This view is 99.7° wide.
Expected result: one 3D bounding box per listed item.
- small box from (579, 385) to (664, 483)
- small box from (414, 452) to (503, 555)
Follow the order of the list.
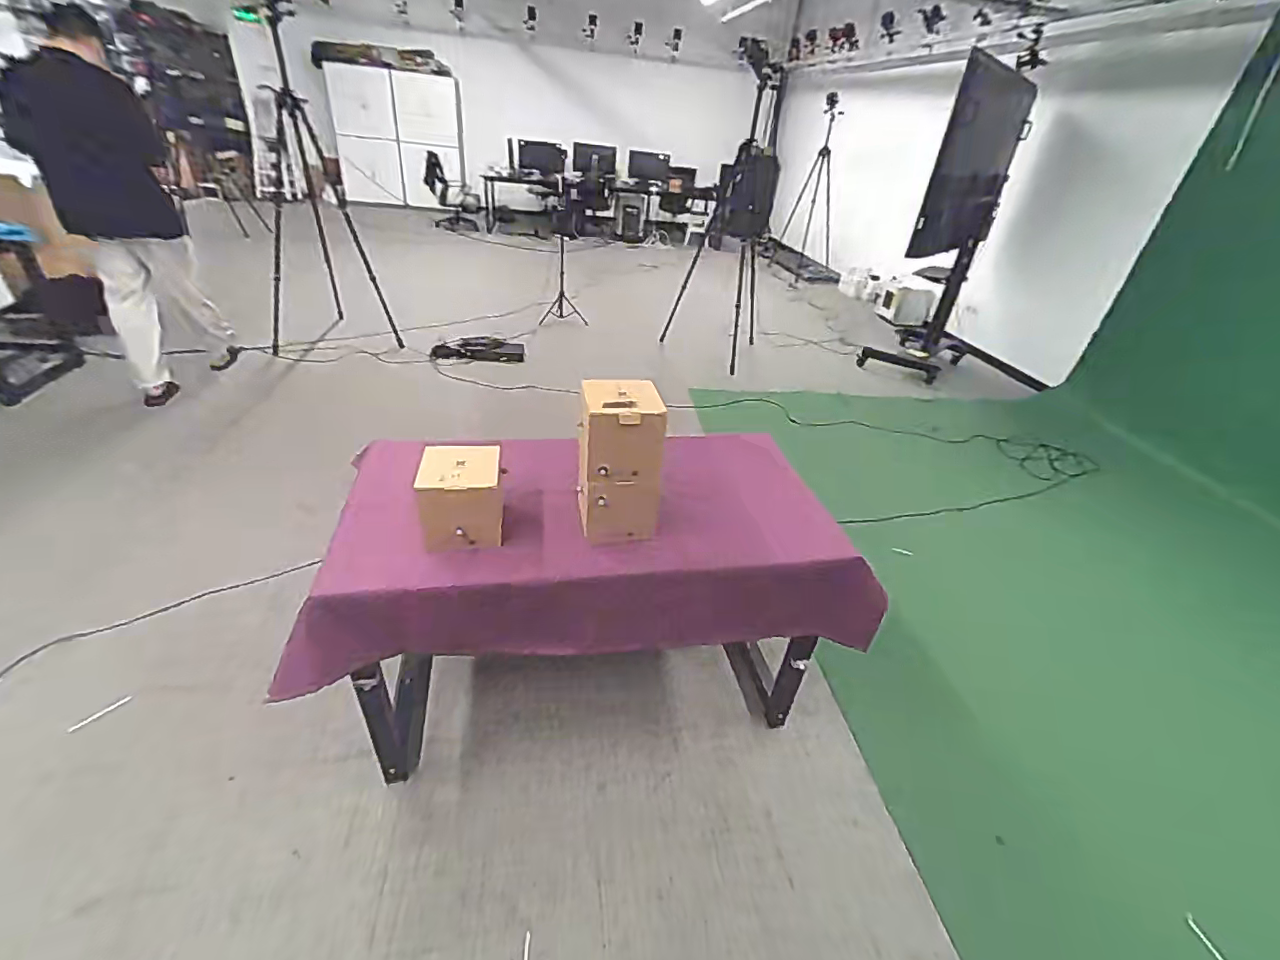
[{"bbox_3d":[-0.048,-0.102,1.210,0.168,0.176,0.179,-2,31,-12],"label":"small box"},{"bbox_3d":[-0.400,0.050,1.220,0.168,0.176,0.179,-2,33,-11],"label":"small box"}]
